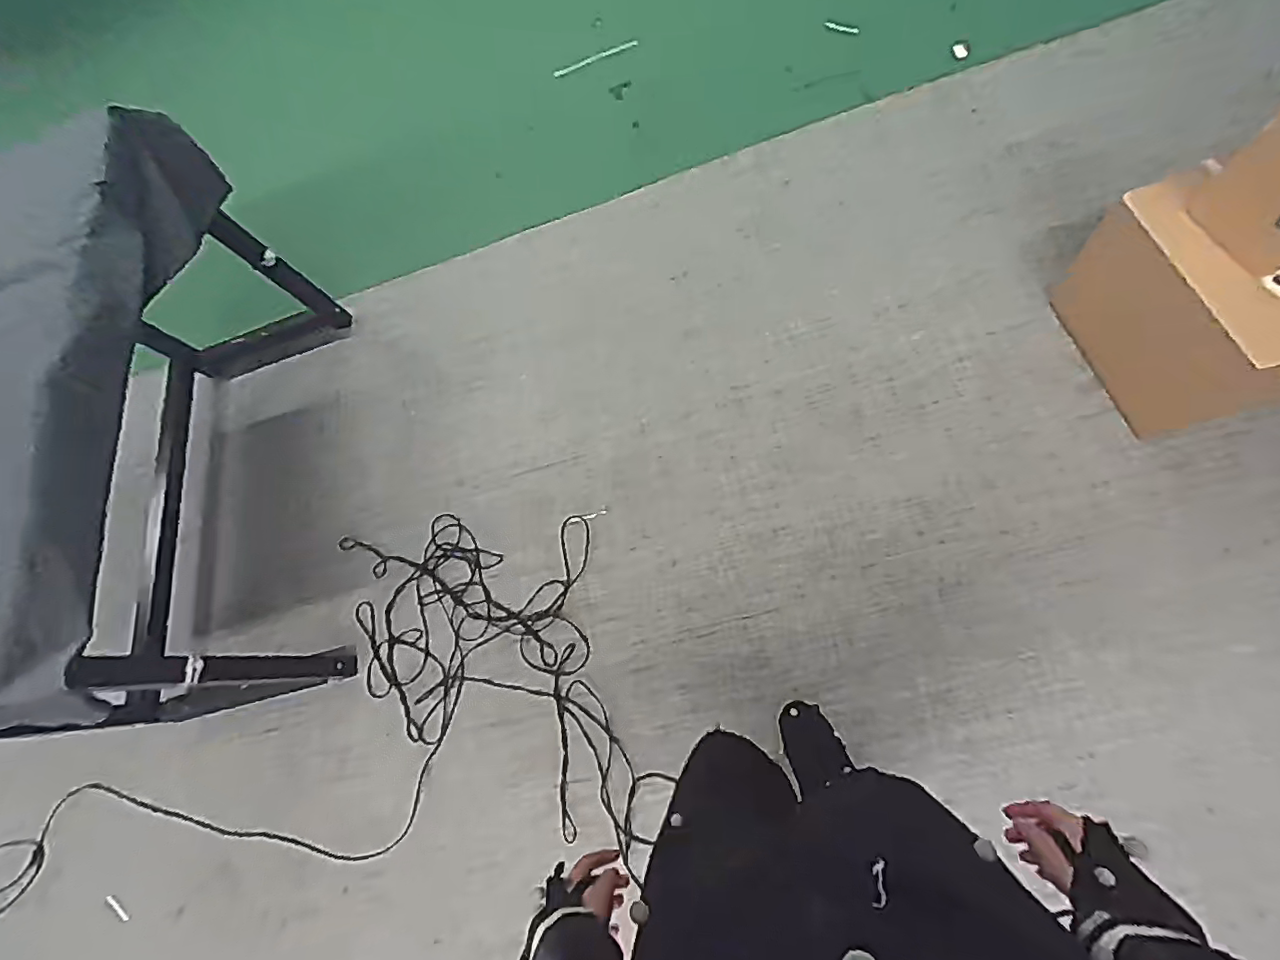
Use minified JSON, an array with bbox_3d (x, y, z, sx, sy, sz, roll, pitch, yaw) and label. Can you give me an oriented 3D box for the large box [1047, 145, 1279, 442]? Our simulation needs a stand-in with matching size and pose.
[{"bbox_3d":[1.127,-0.346,1.068,0.320,0.320,0.408,-19,69,9],"label":"large box"}]
